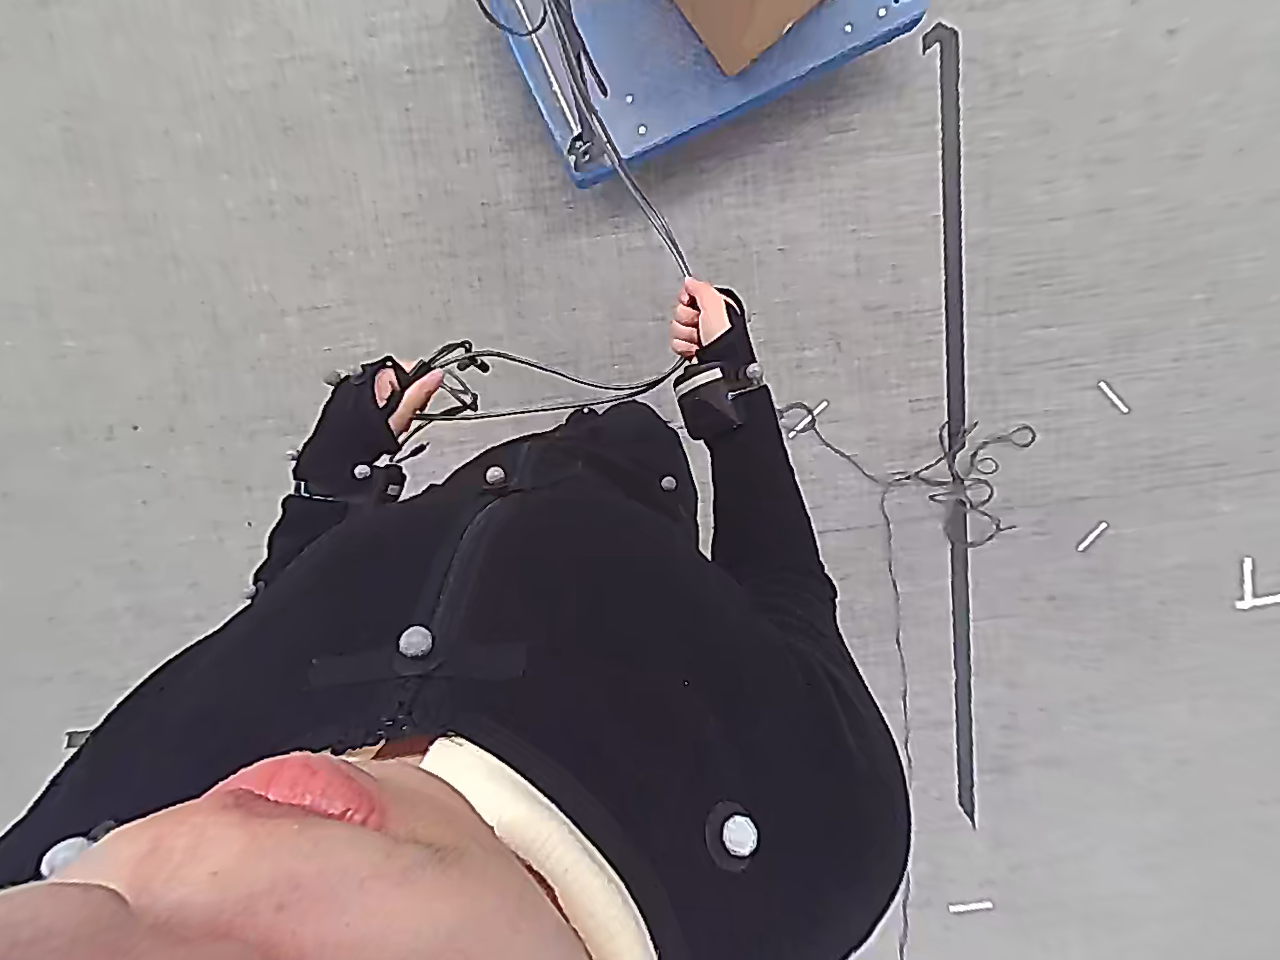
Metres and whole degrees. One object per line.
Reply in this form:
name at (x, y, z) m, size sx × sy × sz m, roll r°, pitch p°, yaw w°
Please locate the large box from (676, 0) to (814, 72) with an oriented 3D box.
large box at (0.190, -1.108, 0.999) m, size 0.320 × 0.320 × 0.408 m, roll -40°, pitch 98°, yaw 5°
